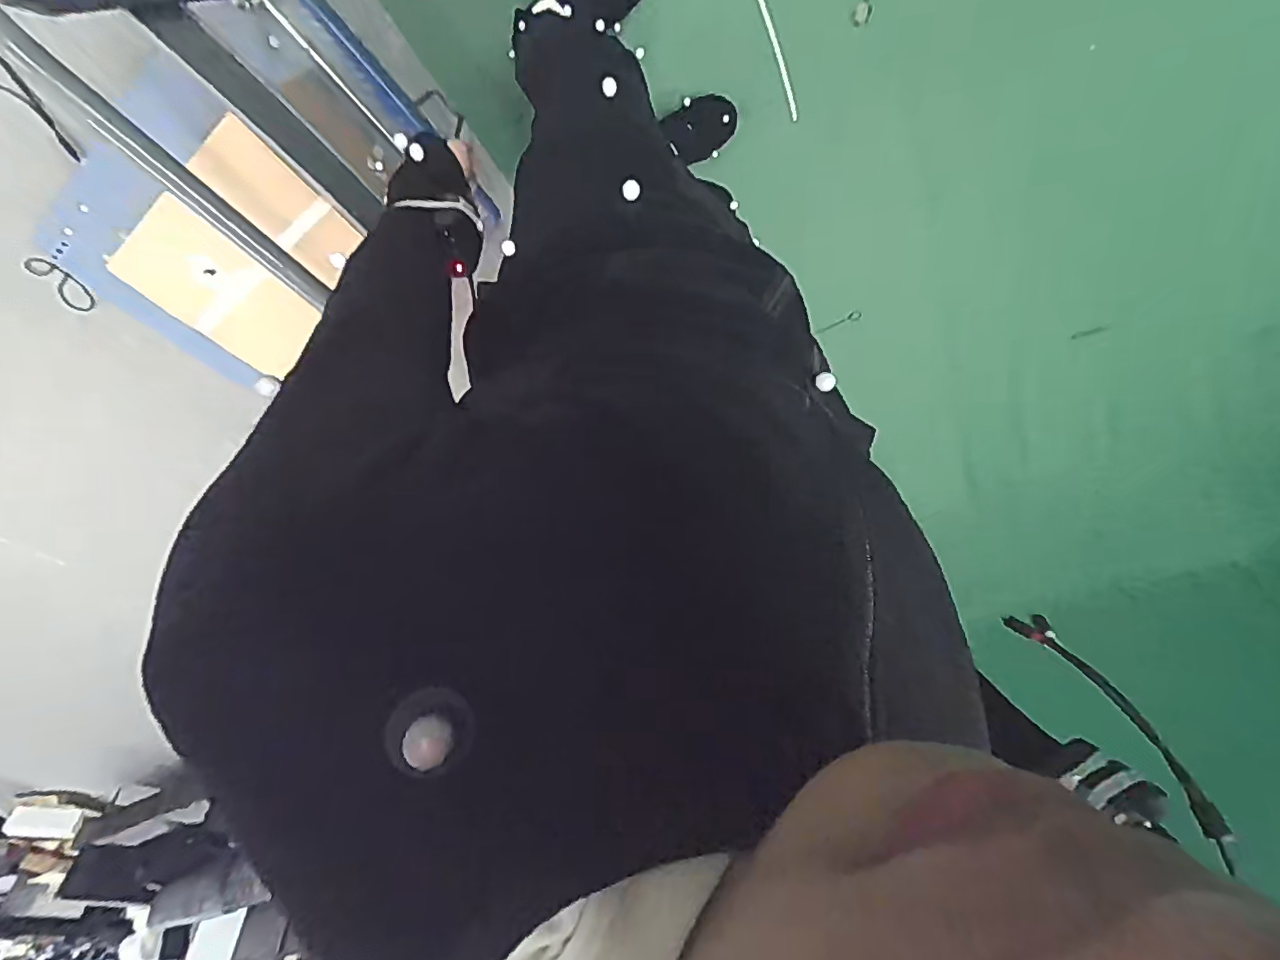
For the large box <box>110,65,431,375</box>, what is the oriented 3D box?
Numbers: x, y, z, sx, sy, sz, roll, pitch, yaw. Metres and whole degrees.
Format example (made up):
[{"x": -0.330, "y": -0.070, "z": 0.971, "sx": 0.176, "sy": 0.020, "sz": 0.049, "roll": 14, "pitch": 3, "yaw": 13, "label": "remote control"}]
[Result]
[{"x": -0.683, "y": -0.492, "z": 1.056, "sx": 0.408, "sy": 0.320, "sz": 0.320, "roll": -27, "pitch": 132, "yaw": 22, "label": "large box"}]
